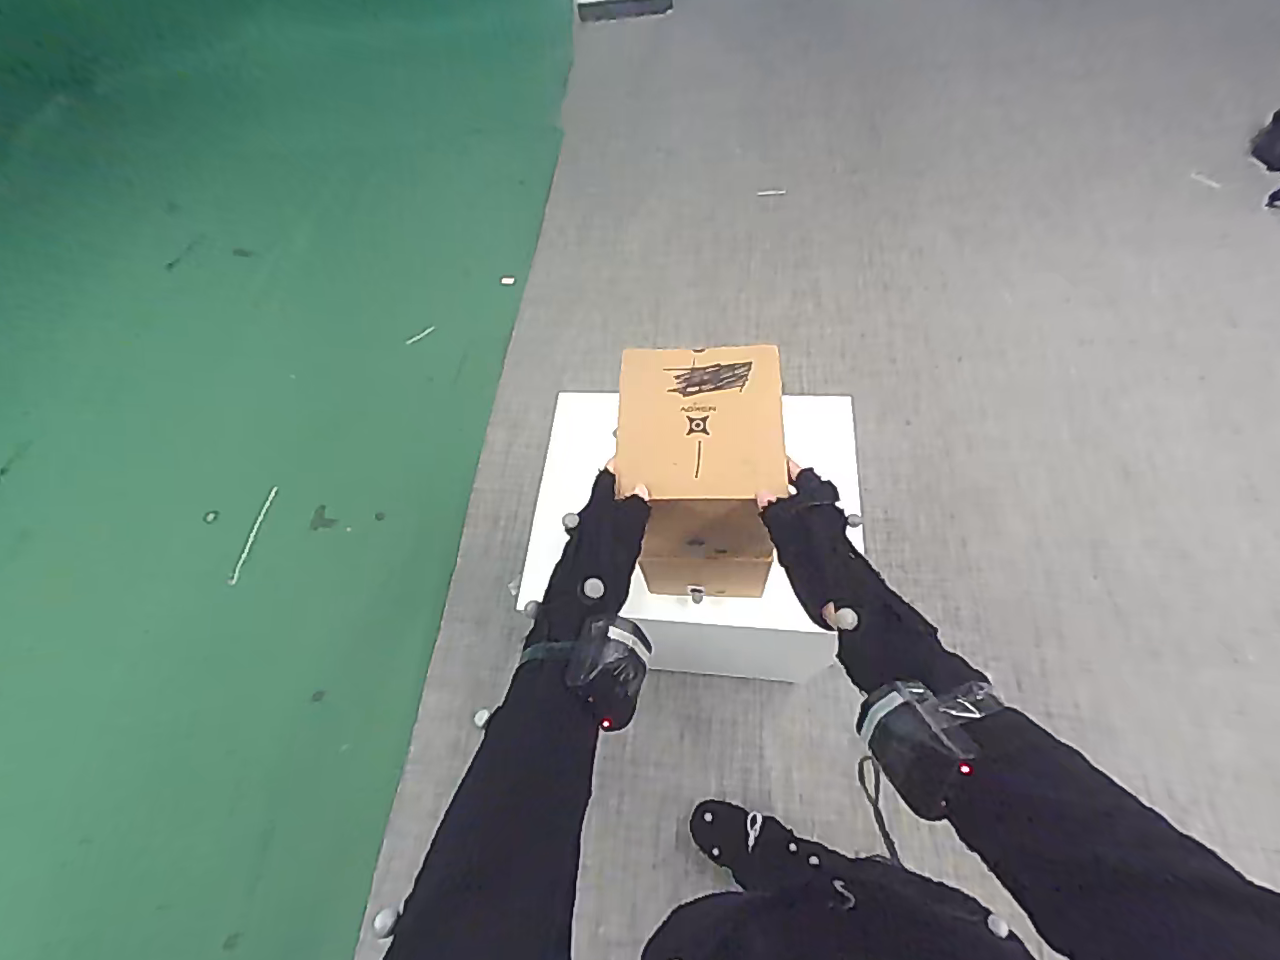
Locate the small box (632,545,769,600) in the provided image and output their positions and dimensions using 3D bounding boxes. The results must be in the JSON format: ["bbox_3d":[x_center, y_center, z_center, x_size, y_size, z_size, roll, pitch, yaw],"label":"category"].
[{"bbox_3d":[0.087,0.057,0.748,0.168,0.176,0.179,-1,64,9],"label":"small box"}]

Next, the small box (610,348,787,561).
[{"bbox_3d":[0.063,-0.022,0.606,0.168,0.176,0.179,-4,61,7],"label":"small box"}]
